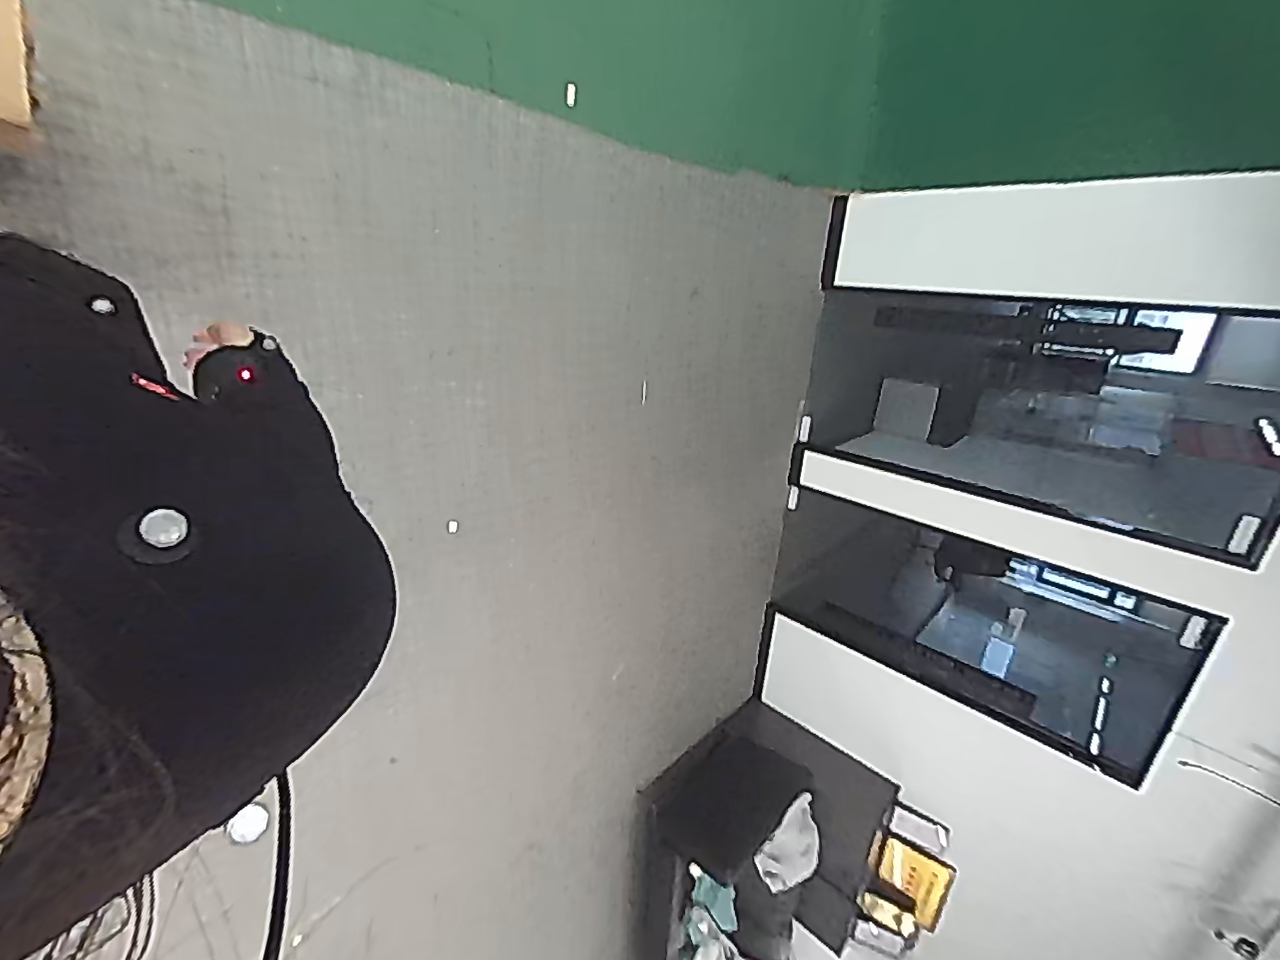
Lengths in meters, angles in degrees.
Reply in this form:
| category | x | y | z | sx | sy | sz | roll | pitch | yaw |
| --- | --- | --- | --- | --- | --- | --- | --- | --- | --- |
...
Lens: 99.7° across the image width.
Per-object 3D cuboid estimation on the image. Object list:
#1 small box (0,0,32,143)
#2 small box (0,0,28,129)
| category | x | y | z | sx | sy | sz | roll | pitch | yaw |
| --- | --- | --- | --- | --- | --- | --- | --- | --- | --- |
| small box | -0.915 | -0.557 | 0.693 | 0.179 | 0.176 | 0.168 | -3 | 110 | -49 |
| small box | -0.802 | -0.507 | 0.586 | 0.179 | 0.176 | 0.168 | -6 | 112 | -48 |
